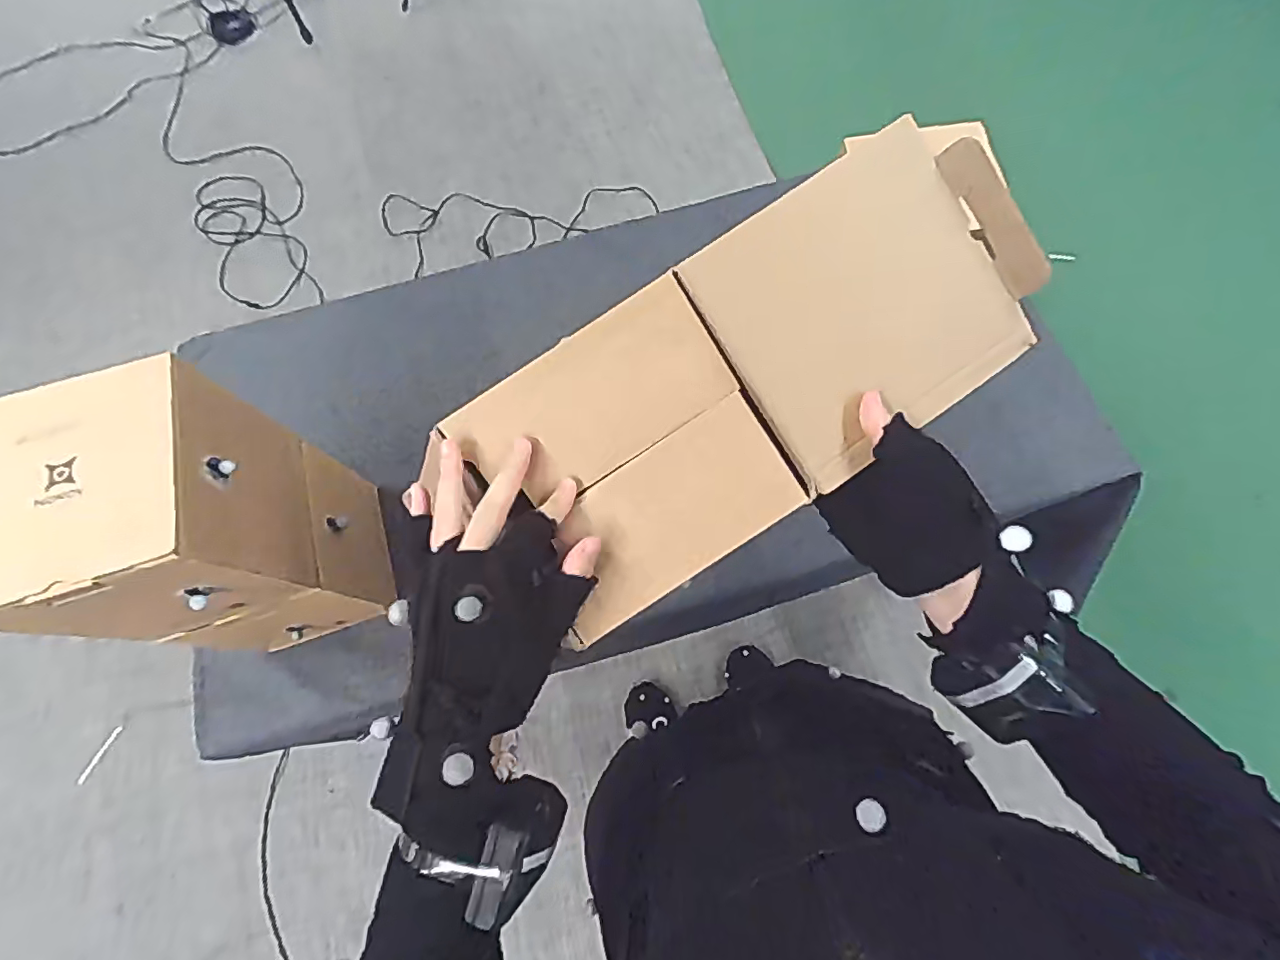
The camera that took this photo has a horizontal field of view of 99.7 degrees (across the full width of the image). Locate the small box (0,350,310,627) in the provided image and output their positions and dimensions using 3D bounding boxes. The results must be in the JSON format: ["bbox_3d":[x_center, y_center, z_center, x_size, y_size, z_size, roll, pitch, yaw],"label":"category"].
[{"bbox_3d":[-0.418,0.022,0.472,0.168,0.176,0.179,-16,71,-4],"label":"small box"}]

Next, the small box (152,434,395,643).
[{"bbox_3d":[-0.411,0.076,0.625,0.168,0.176,0.179,-18,71,-4],"label":"small box"}]
